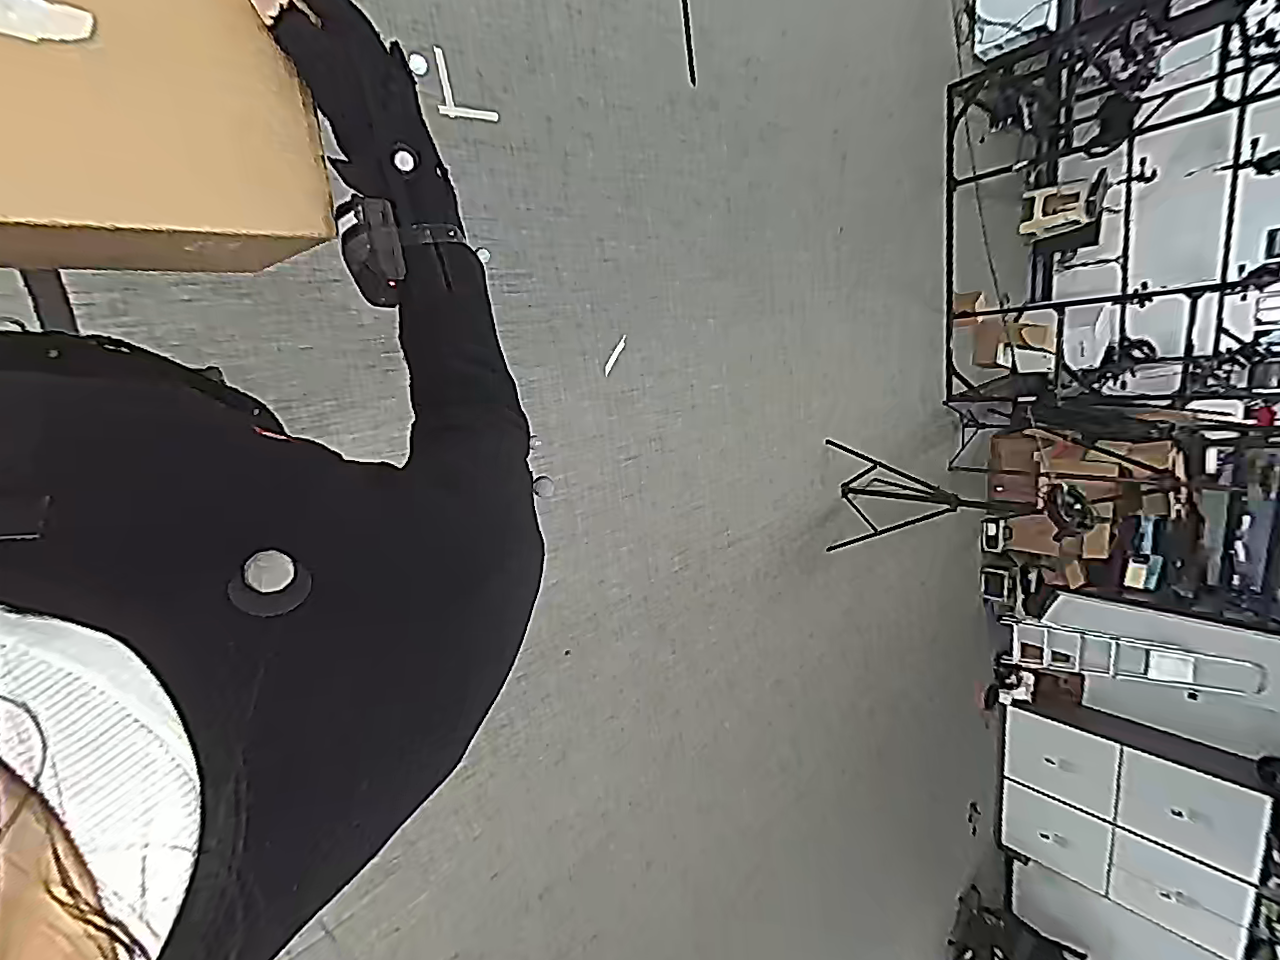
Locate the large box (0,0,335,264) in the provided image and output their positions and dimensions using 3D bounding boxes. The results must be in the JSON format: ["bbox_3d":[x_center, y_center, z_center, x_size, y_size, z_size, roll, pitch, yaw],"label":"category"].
[{"bbox_3d":[-0.484,-0.312,0.340,0.408,0.320,0.320,-19,115,-41],"label":"large box"}]
